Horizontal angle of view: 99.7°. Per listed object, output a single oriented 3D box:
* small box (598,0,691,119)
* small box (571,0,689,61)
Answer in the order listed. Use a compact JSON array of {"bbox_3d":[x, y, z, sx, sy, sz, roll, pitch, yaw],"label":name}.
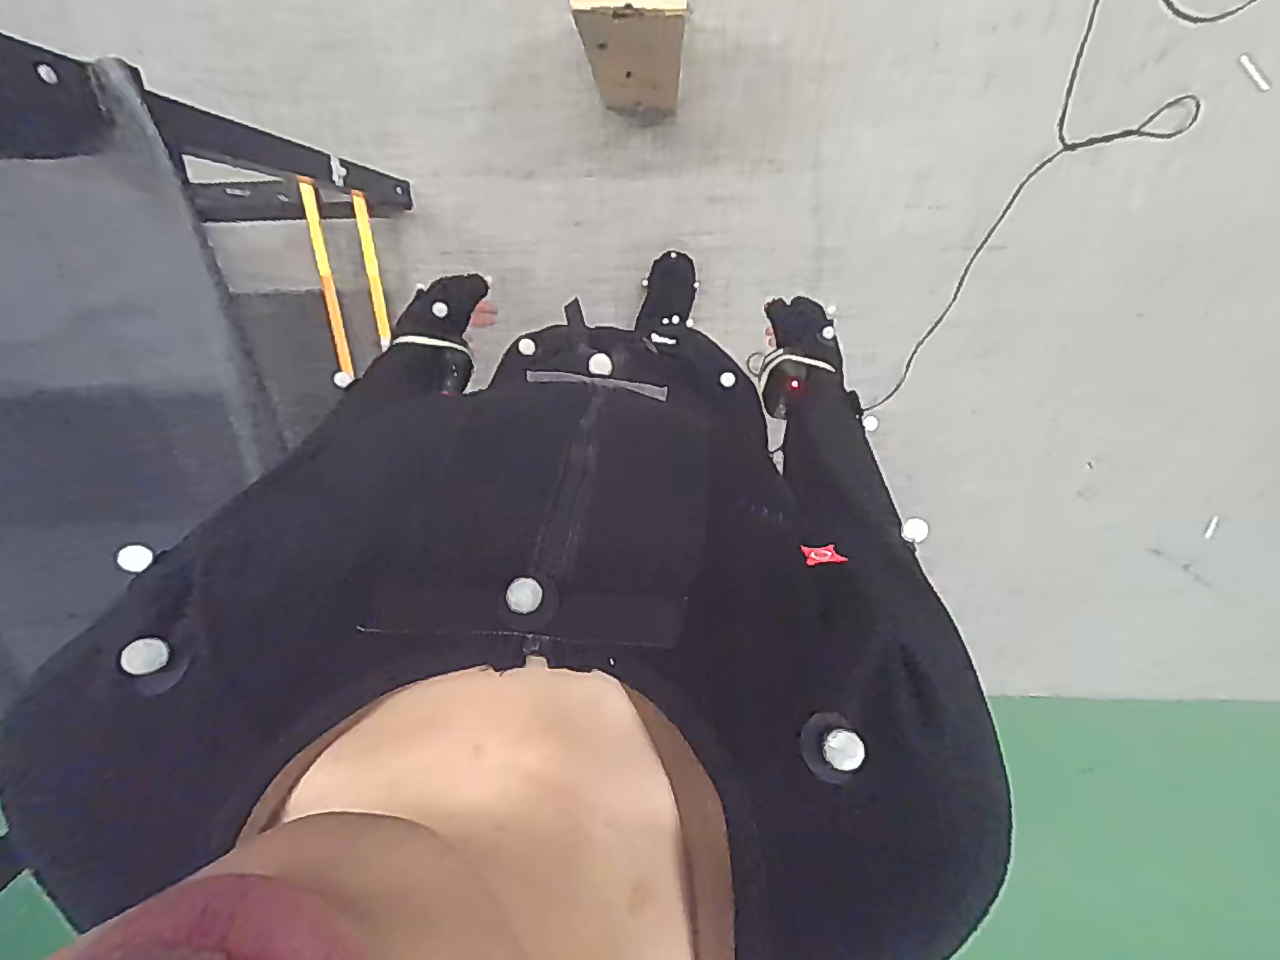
[{"bbox_3d":[0.010,-0.870,1.108,0.168,0.176,0.179,6,111,1],"label":"small box"},{"bbox_3d":[-0.007,-0.755,0.803,0.168,0.176,0.179,3,111,1],"label":"small box"}]
